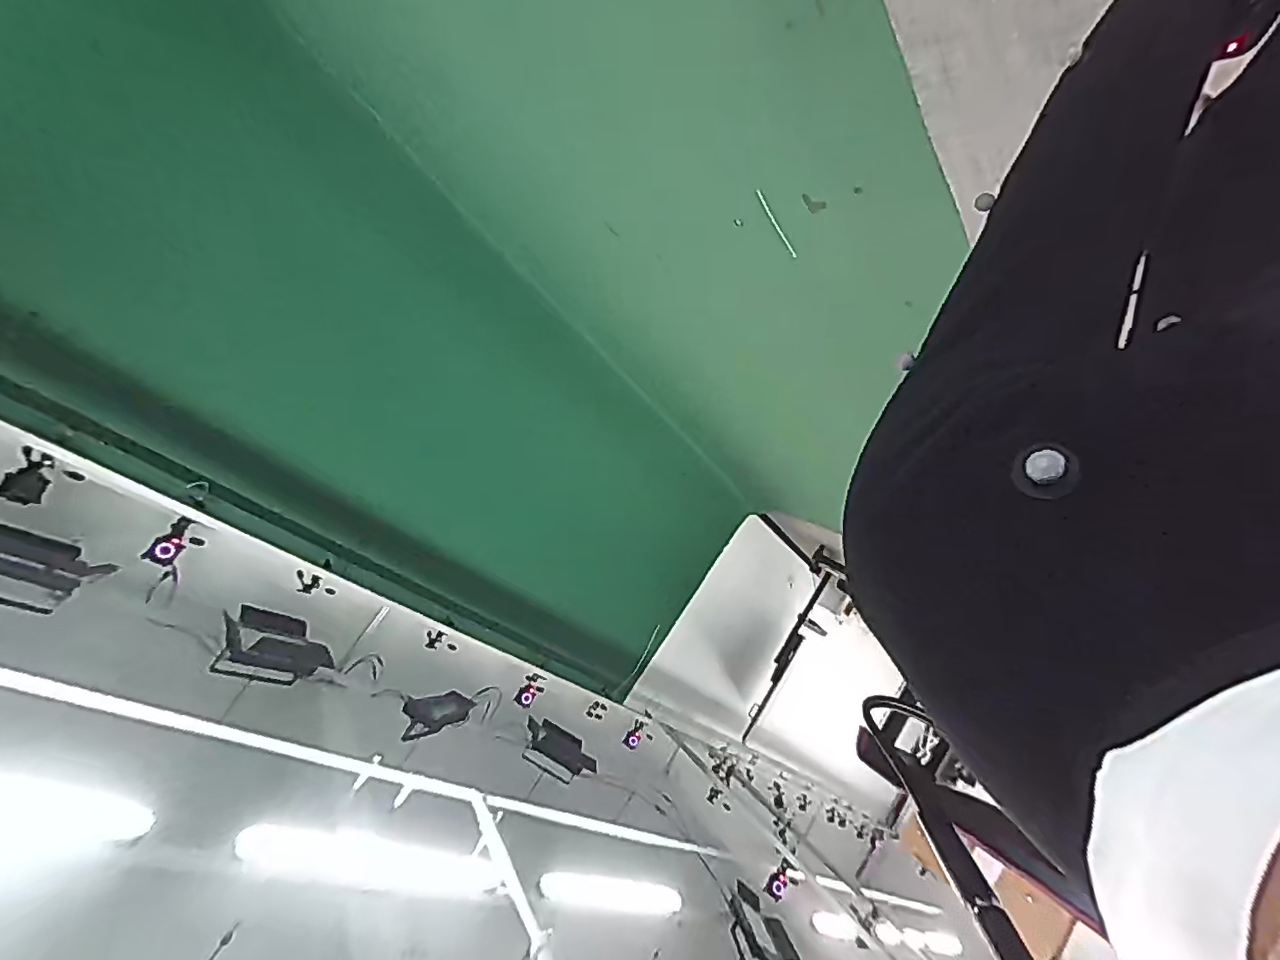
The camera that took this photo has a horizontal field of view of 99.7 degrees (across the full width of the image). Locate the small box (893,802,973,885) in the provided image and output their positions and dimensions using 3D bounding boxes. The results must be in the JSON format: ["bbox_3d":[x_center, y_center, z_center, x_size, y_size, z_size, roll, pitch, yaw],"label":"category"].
[{"bbox_3d":[1.005,1.236,1.847,0.168,0.176,0.179,25,167,50],"label":"small box"}]

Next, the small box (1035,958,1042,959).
[{"bbox_3d":[1.144,1.471,1.479,0.168,0.176,0.179,40,171,-37],"label":"small box"}]
